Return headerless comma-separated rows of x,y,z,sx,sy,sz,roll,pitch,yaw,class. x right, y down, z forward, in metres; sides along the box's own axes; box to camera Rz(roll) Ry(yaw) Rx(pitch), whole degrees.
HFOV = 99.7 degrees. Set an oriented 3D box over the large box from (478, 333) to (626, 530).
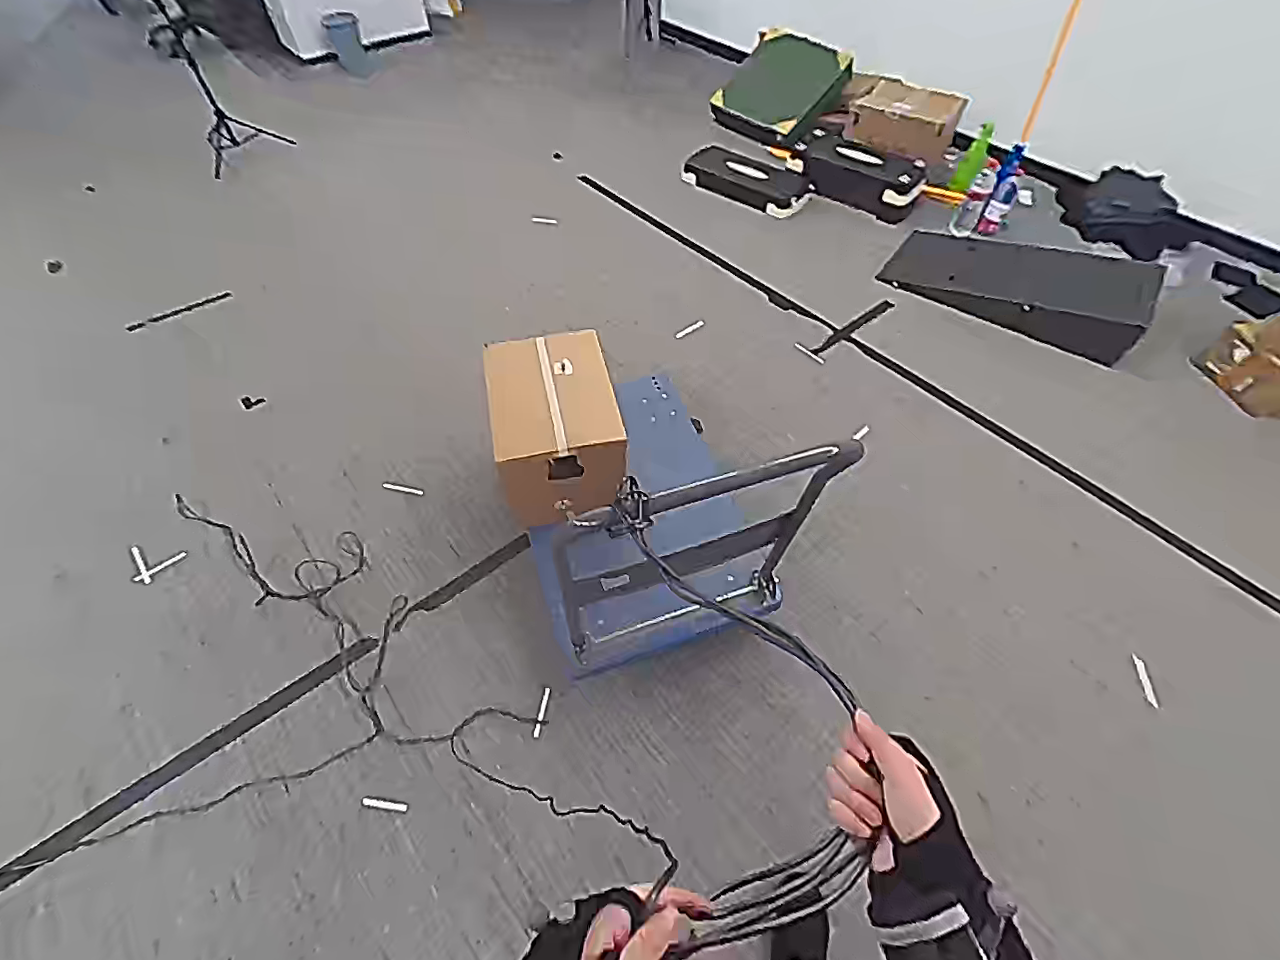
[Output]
-0.234,-0.133,1.474,0.320,0.320,0.408,-11,55,-9,large box
